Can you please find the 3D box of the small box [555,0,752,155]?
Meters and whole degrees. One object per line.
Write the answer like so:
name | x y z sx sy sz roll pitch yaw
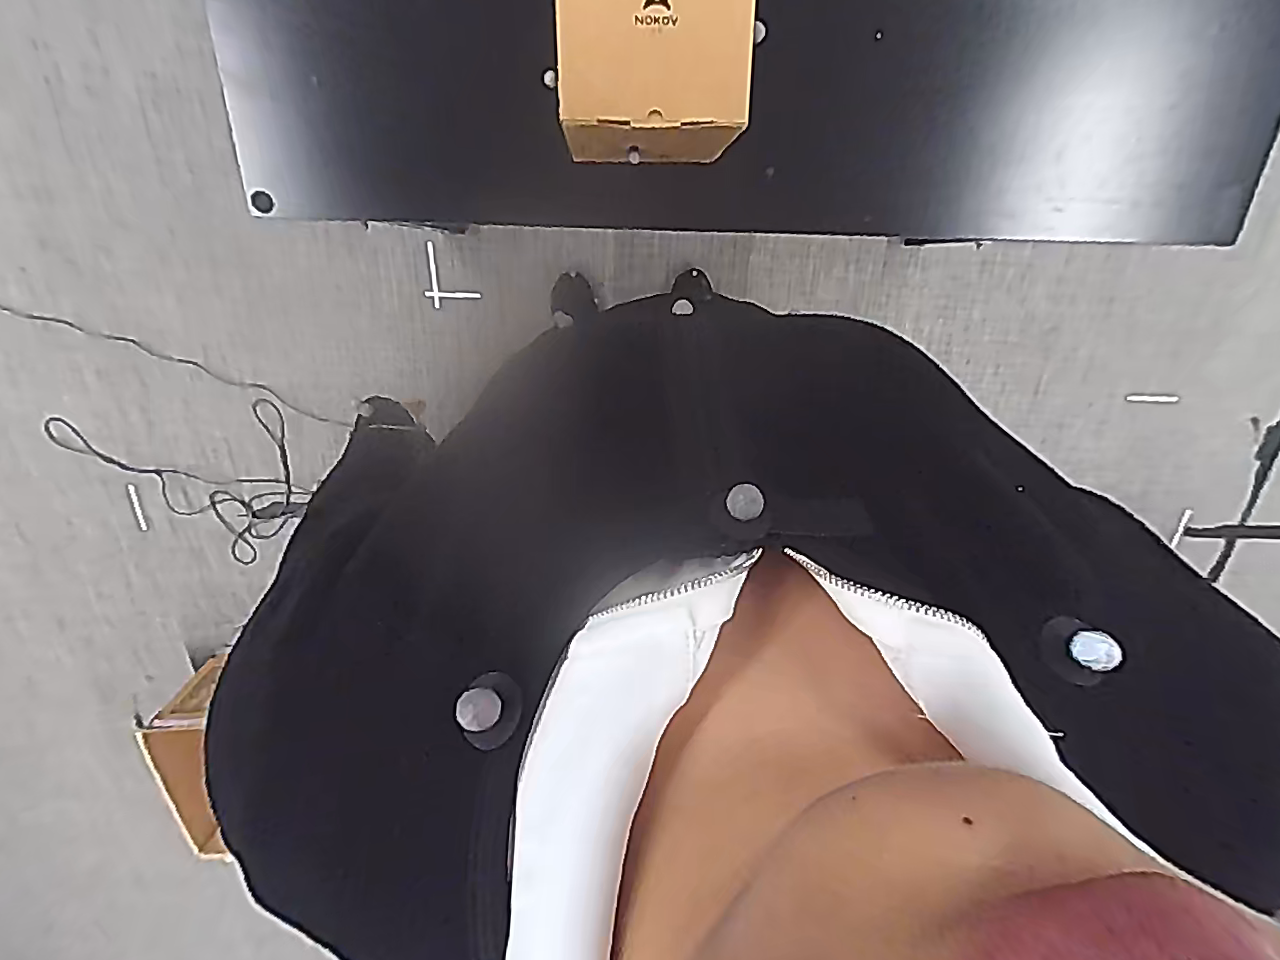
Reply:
small box | 0.006 -0.426 0.512 0.168 0.176 0.179 -1 112 -3
